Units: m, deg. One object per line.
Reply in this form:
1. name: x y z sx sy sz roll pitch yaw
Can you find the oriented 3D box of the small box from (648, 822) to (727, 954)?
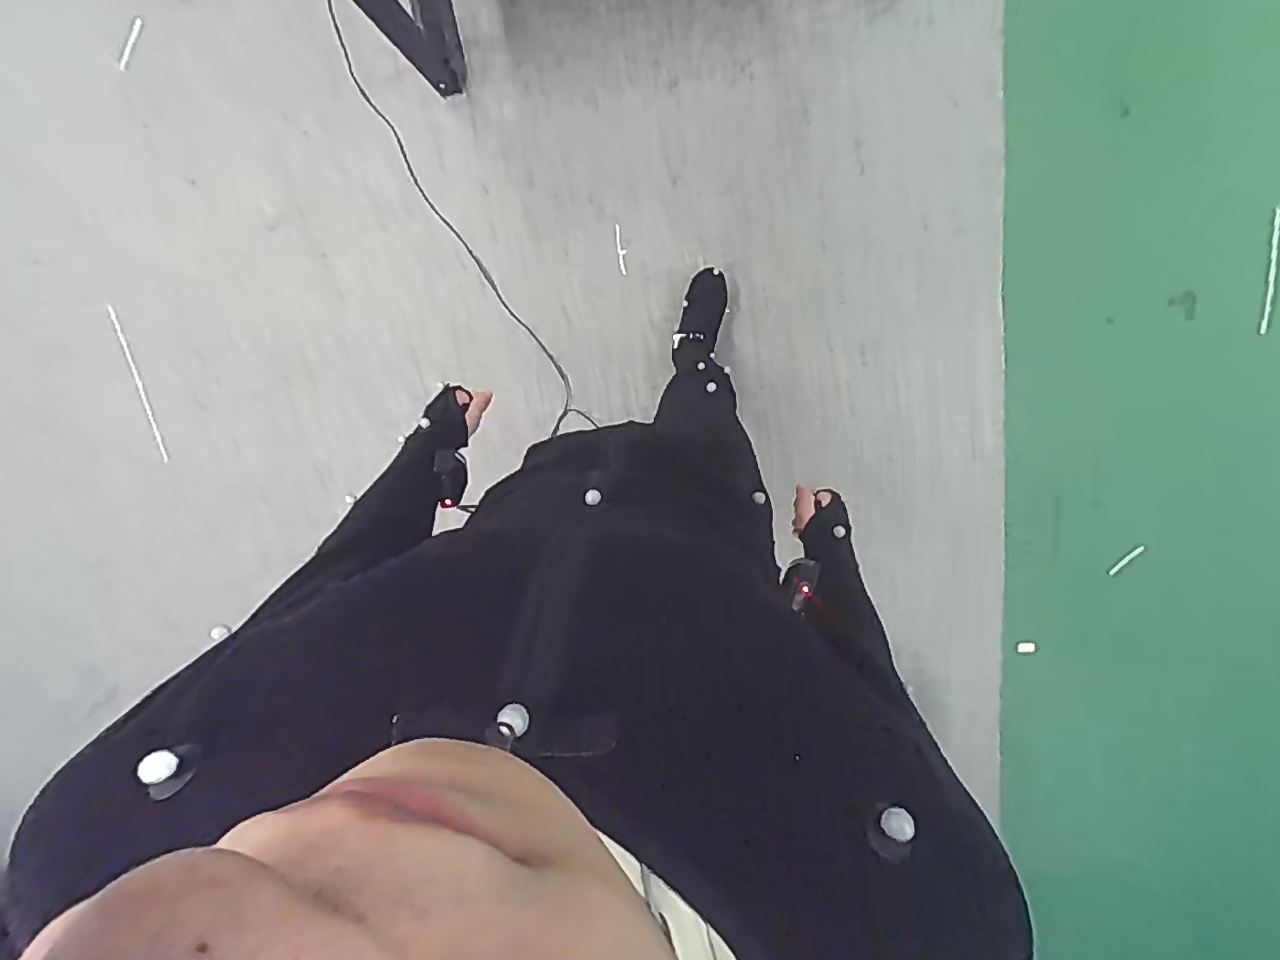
1. small box: 0.106 0.914 1.225 0.168 0.176 0.179 1 105 5
